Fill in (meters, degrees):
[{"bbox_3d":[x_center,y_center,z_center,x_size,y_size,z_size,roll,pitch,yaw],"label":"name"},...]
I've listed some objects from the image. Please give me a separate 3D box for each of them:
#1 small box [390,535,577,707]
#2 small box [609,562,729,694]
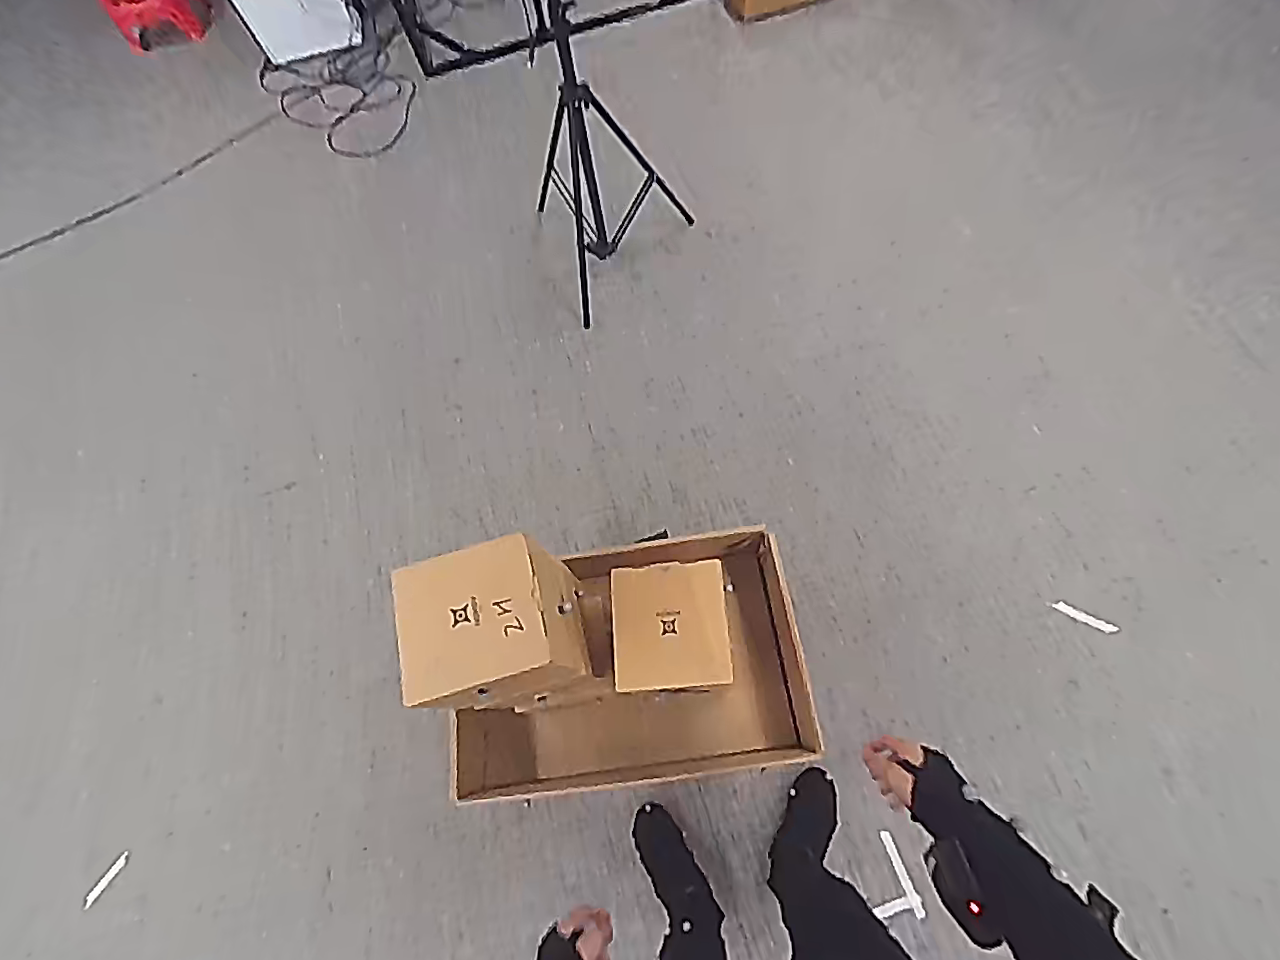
[{"bbox_3d":[-0.197,0.193,0.710,0.179,0.176,0.168,-17,67,-1],"label":"small box"},{"bbox_3d":[0.049,0.237,0.844,0.168,0.176,0.179,-6,66,6],"label":"small box"}]
